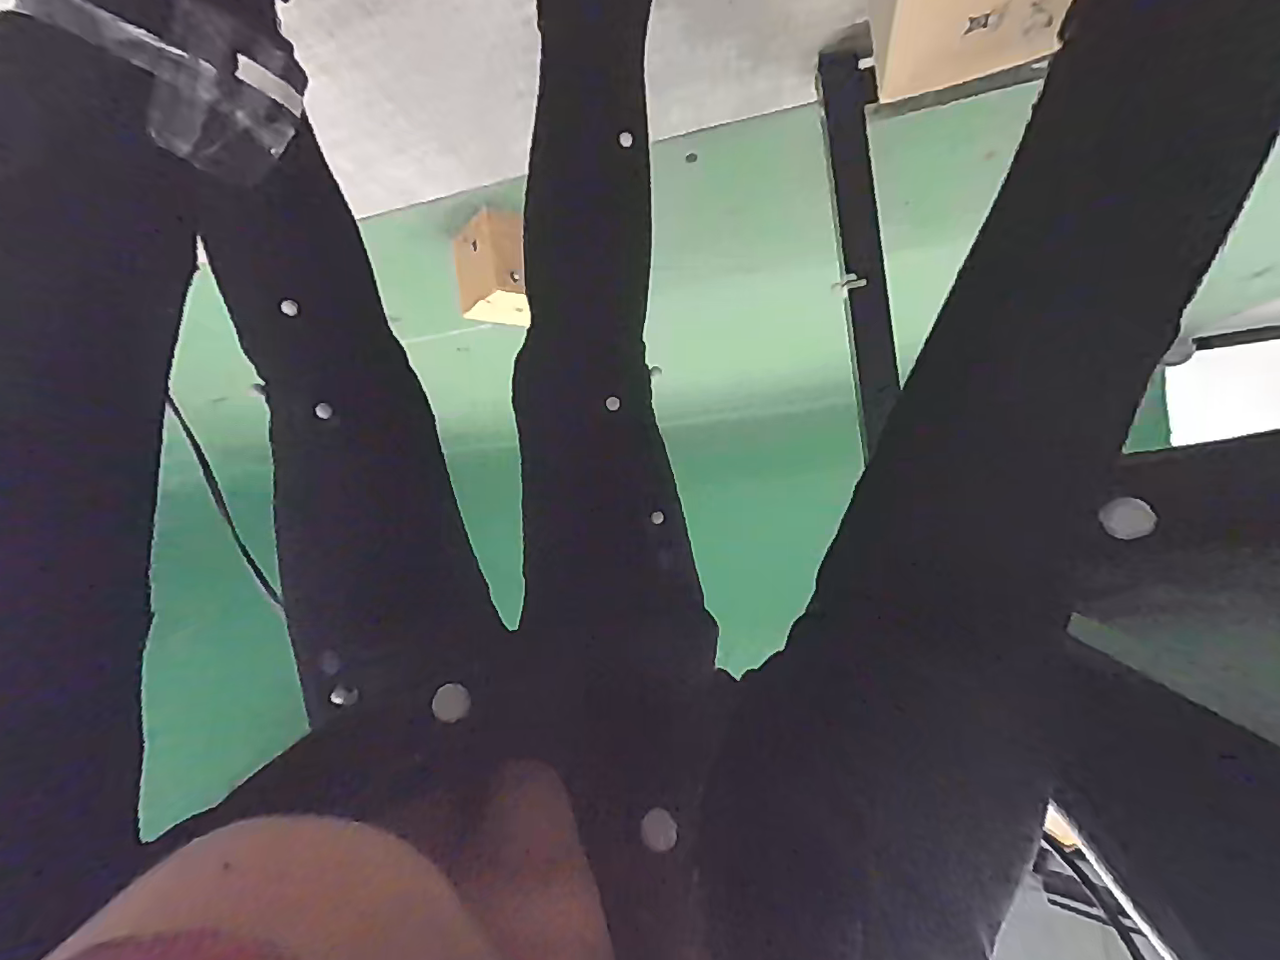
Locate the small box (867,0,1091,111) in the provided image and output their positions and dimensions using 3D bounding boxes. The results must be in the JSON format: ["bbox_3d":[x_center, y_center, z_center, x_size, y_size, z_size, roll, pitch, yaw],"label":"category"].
[{"bbox_3d":[0.317,-0.507,0.511,0.179,0.176,0.168,-7,179,18],"label":"small box"}]

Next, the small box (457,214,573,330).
[{"bbox_3d":[-0.263,-0.427,1.128,0.179,0.176,0.168,-4,177,-41],"label":"small box"}]
